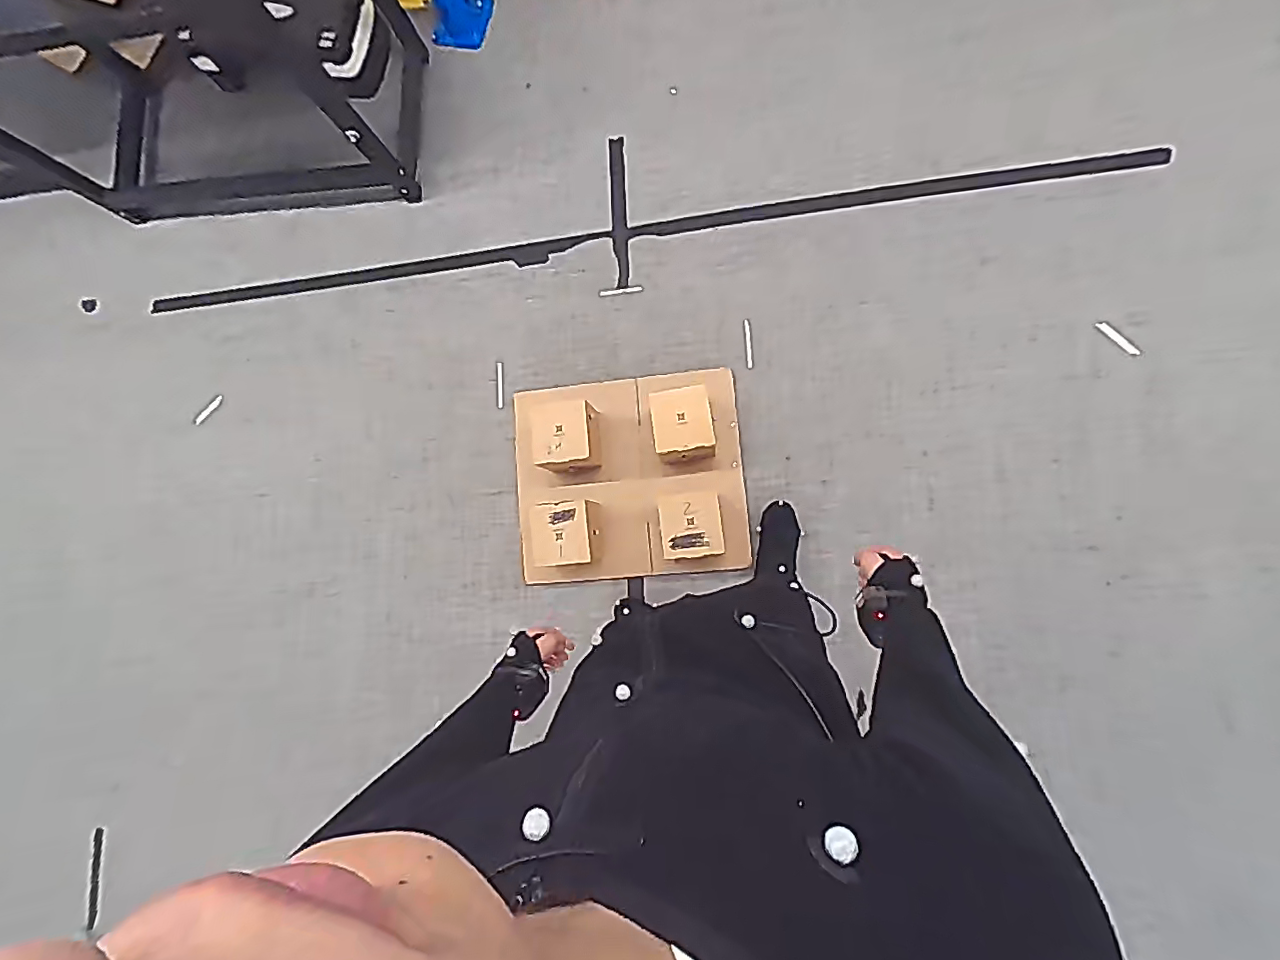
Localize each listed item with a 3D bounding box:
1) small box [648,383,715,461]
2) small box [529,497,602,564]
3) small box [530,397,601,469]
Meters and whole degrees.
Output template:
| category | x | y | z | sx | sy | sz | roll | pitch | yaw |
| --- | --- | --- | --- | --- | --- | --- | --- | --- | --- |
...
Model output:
| category | x | y | z | sx | sy | sz | roll | pitch | yaw |
| --- | --- | --- | --- | --- | --- | --- | --- | --- | --- |
| small box | 0.123 | -0.163 | 1.565 | 0.168 | 0.176 | 0.179 | -9 | 83 | 7 |
| small box | -0.214 | 0.149 | 1.575 | 0.168 | 0.176 | 0.179 | -7 | 84 | 8 |
| small box | -0.218 | -0.134 | 1.605 | 0.168 | 0.176 | 0.179 | -6 | 83 | 8 |
